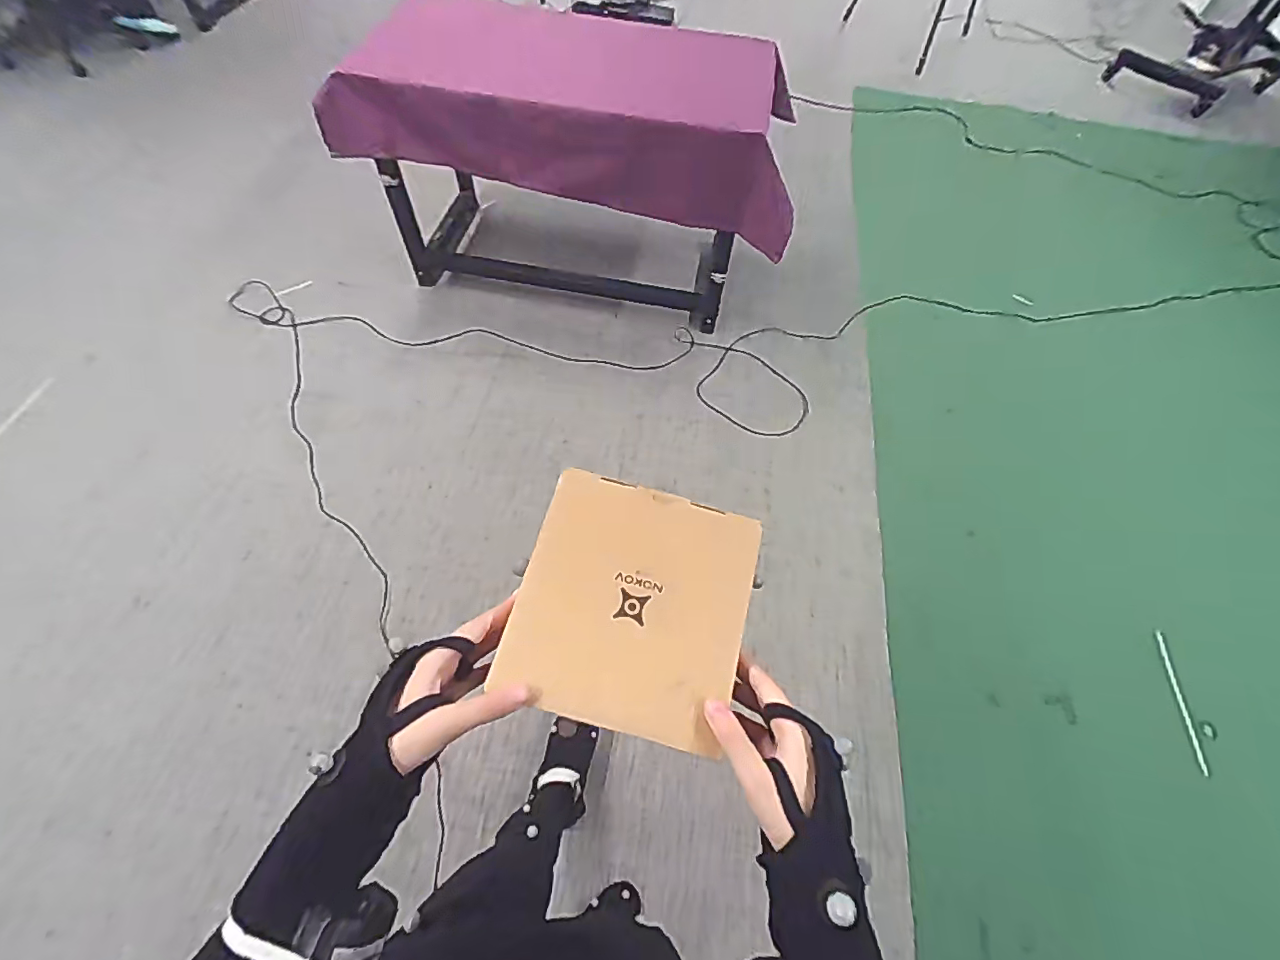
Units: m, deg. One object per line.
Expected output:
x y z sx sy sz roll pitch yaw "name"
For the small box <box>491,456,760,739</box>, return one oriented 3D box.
-0.010 0.109 0.473 0.168 0.176 0.179 16 66 1 "small box"
